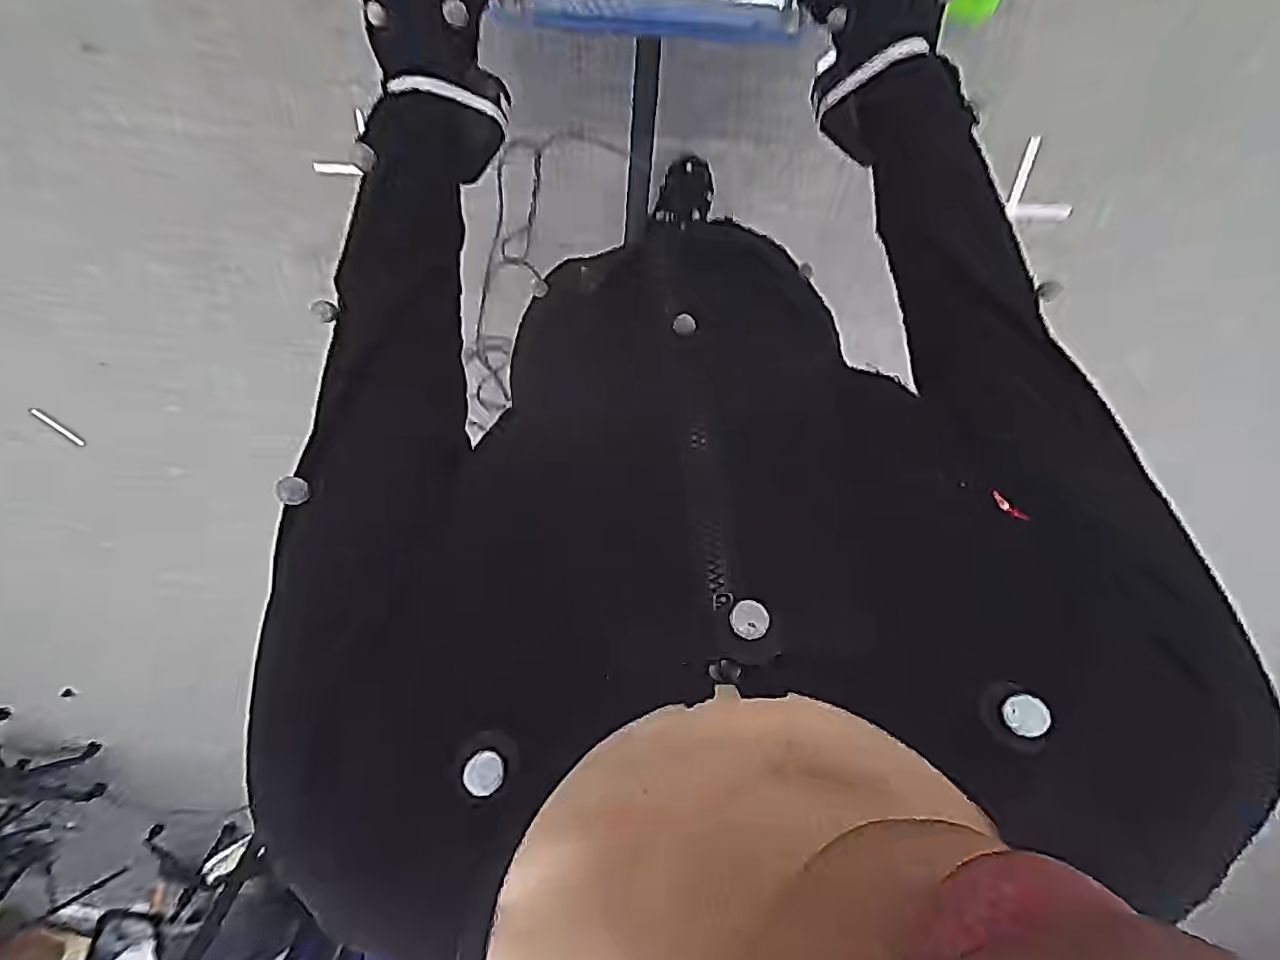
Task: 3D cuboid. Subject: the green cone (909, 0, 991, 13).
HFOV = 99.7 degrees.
[{"bbox_3d":[0.603,-0.918,0.861,0.202,0.368,0.200,6,123,-5],"label":"green cone"}]
